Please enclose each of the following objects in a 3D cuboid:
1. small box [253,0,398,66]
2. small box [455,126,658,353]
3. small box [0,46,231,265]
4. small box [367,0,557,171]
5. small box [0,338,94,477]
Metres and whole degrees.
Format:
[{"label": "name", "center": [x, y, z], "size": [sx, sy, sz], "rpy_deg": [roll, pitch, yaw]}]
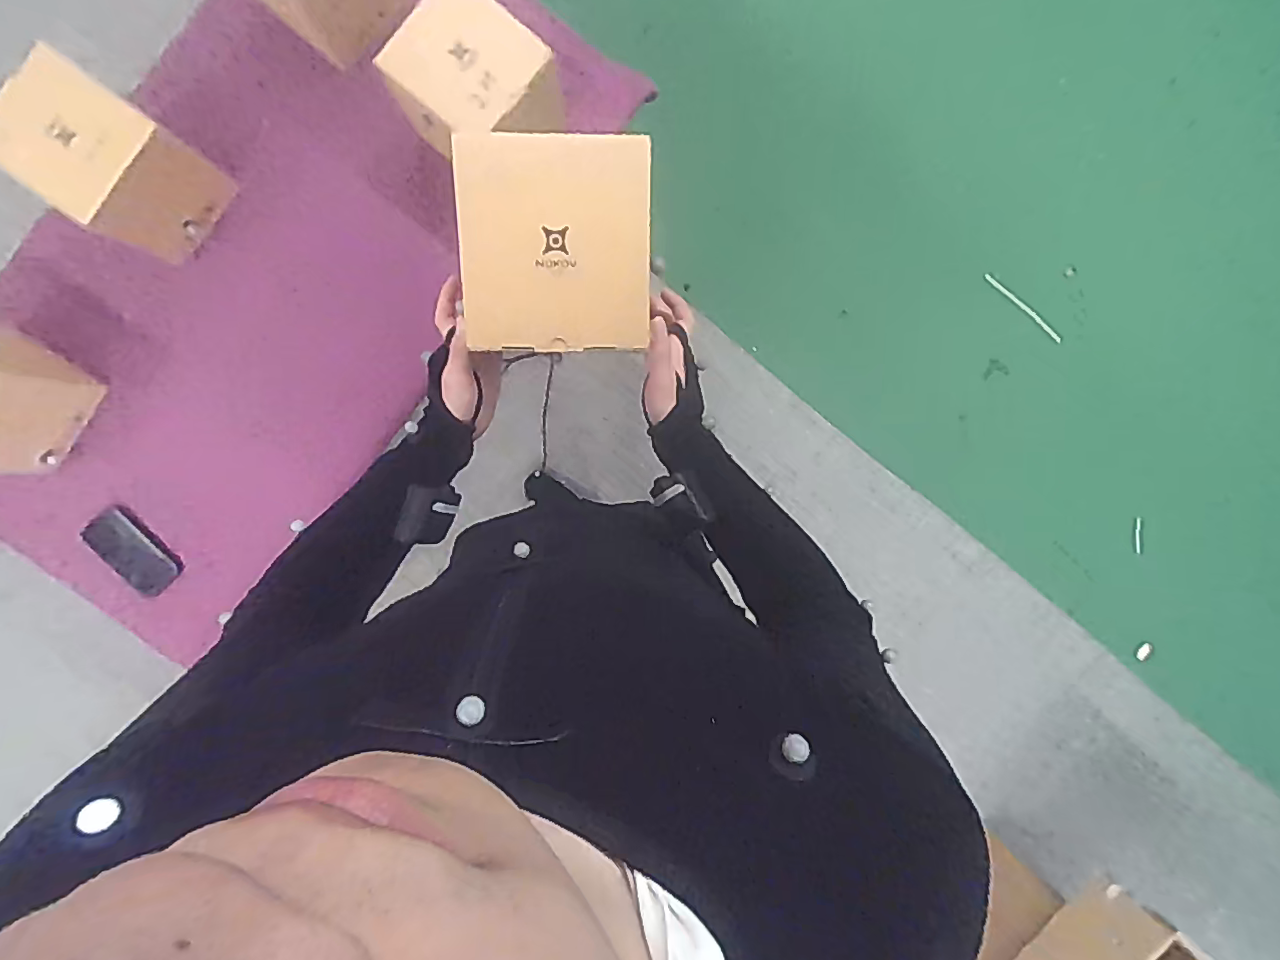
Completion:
[{"label": "small box", "center": [-0.489, -0.755, 0.769], "size": [0.179, 0.176, 0.168], "rpy_deg": [40, 91, -3]}, {"label": "small box", "center": [-0.073, -0.217, 0.532], "size": [0.168, 0.176, 0.179], "rpy_deg": [0, 105, -3]}, {"label": "small box", "center": [-0.754, -0.440, 0.770], "size": [0.179, 0.176, 0.168], "rpy_deg": [36, 91, -4]}, {"label": "small box", "center": [-0.243, -0.555, 0.784], "size": [0.179, 0.176, 0.168], "rpy_deg": [39, 91, -3]}, {"label": "small box", "center": [-0.963, -0.112, 0.771], "size": [0.179, 0.176, 0.168], "rpy_deg": [33, 90, -2]}]
